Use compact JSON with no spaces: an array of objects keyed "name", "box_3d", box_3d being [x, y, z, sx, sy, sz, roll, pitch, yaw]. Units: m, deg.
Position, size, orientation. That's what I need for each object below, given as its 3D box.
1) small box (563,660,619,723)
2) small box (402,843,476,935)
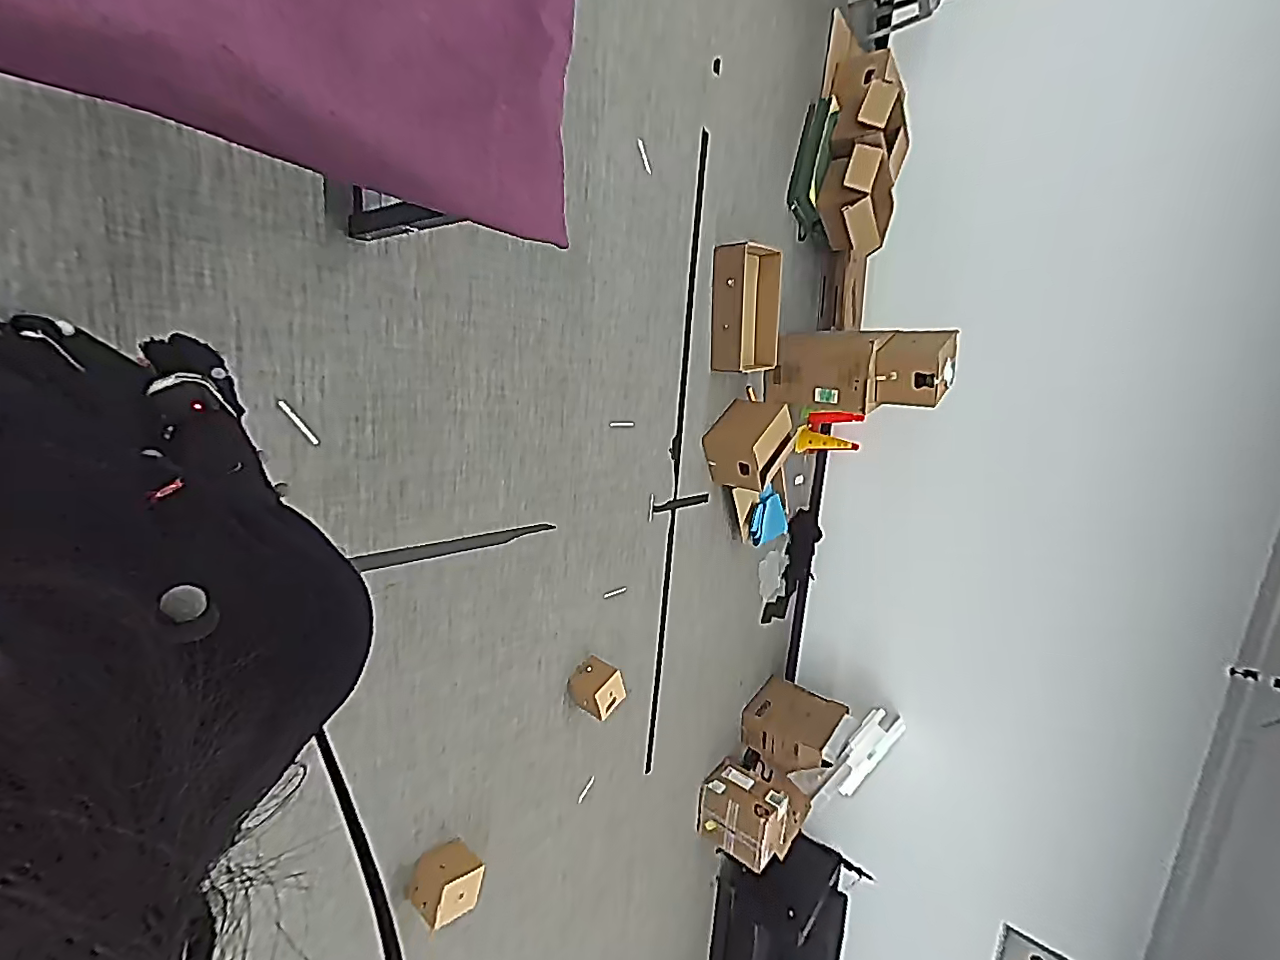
[{"name":"small box","box_3d":[-0.221,0.945,2.435,0.168,0.176,0.179,-37,127,-41]},{"name":"small box","box_3d":[-0.727,1.462,1.946,0.179,0.176,0.168,12,92,-54]}]
